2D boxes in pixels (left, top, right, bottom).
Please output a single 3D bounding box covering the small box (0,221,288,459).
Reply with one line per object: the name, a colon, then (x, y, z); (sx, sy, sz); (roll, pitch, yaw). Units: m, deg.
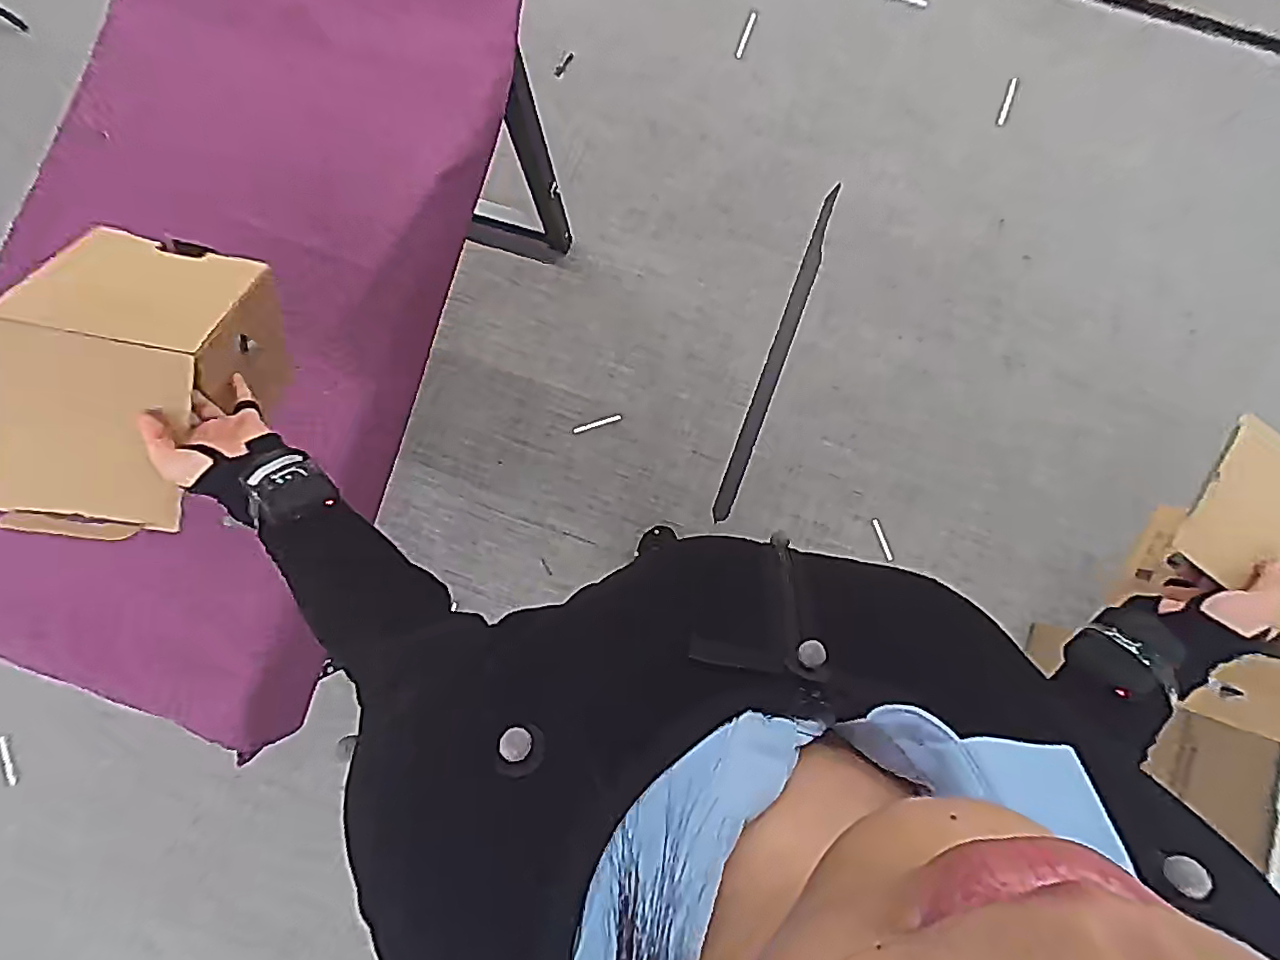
small box: (-0.520, -0.146, 0.600); (0.168, 0.176, 0.179); (11, 49, -15)
